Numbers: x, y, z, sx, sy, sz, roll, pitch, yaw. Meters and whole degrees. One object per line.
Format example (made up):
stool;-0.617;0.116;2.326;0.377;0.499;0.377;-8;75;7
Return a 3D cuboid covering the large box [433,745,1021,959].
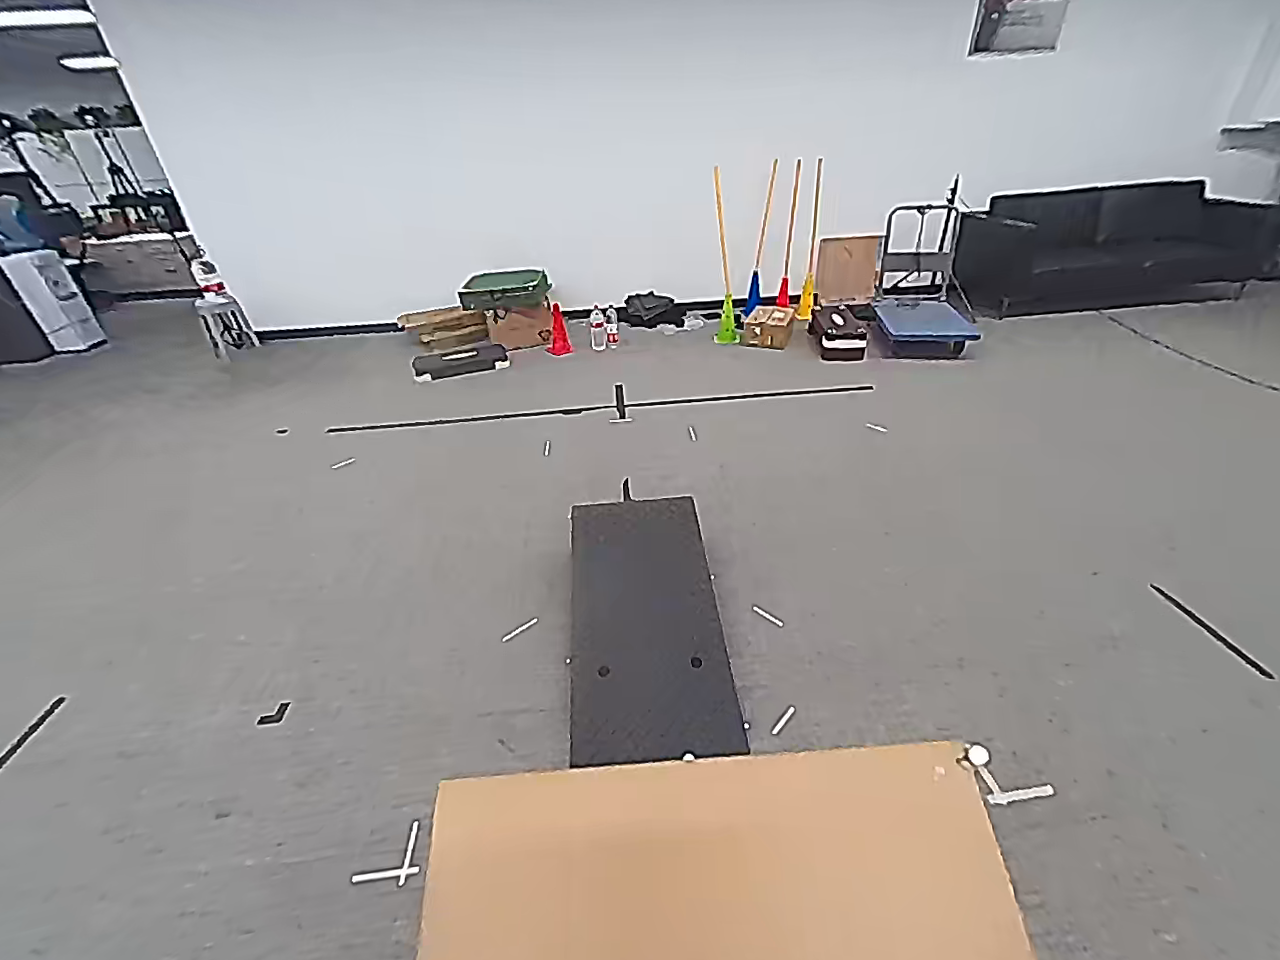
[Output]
large box;0.060;0.435;0.472;0.408;0.320;0.320;-4;60;-2

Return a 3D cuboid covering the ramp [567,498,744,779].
ramp;0.003;0.439;1.813;0.509;0.206;0.991;-5;34;-5
